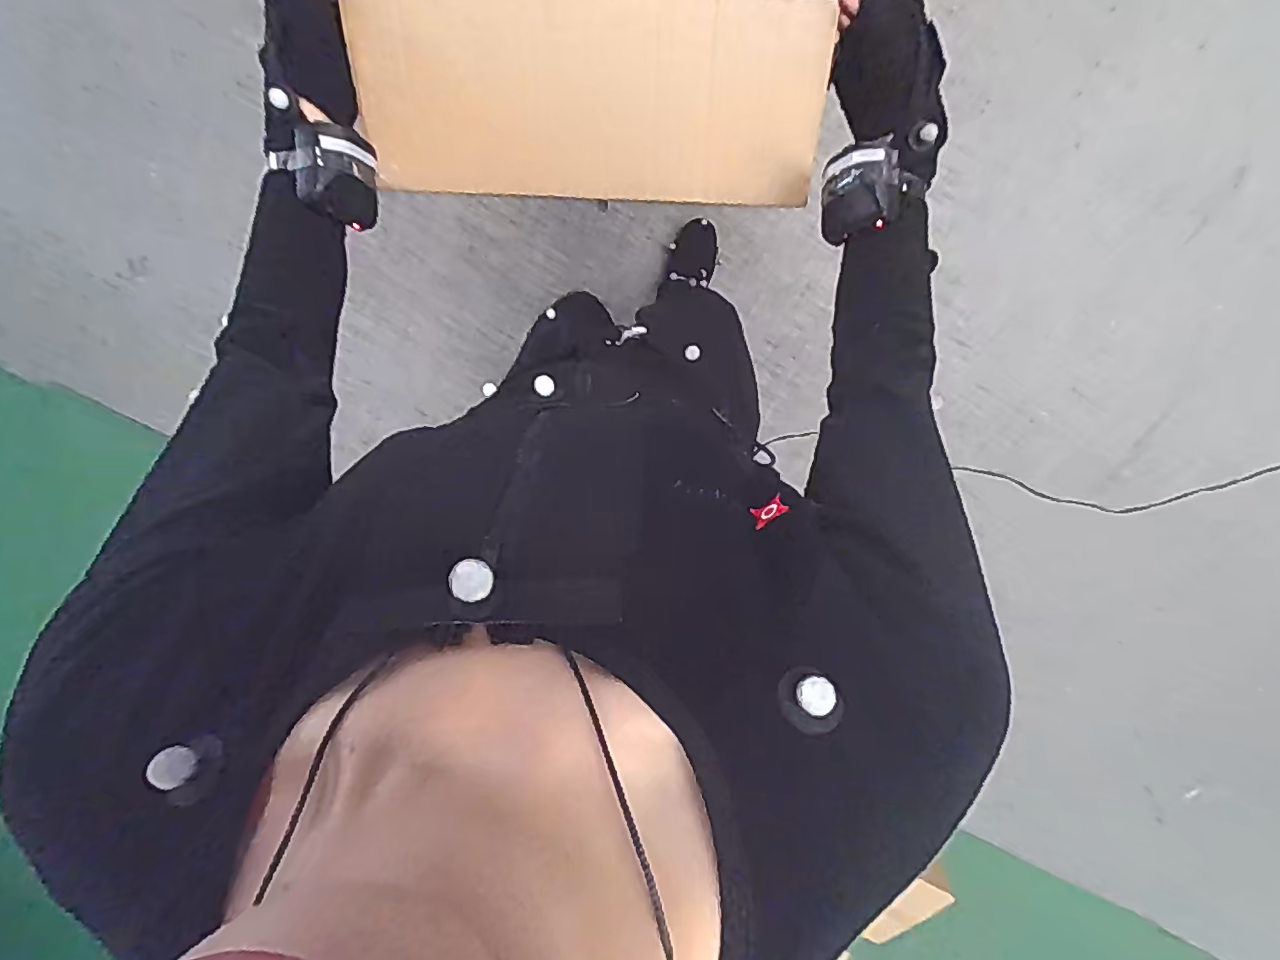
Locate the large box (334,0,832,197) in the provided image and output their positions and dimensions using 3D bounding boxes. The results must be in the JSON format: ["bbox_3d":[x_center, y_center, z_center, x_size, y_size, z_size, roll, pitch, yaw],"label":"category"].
[{"bbox_3d":[-0.040,-0.474,0.545,0.408,0.320,0.320,2,120,0],"label":"large box"}]
